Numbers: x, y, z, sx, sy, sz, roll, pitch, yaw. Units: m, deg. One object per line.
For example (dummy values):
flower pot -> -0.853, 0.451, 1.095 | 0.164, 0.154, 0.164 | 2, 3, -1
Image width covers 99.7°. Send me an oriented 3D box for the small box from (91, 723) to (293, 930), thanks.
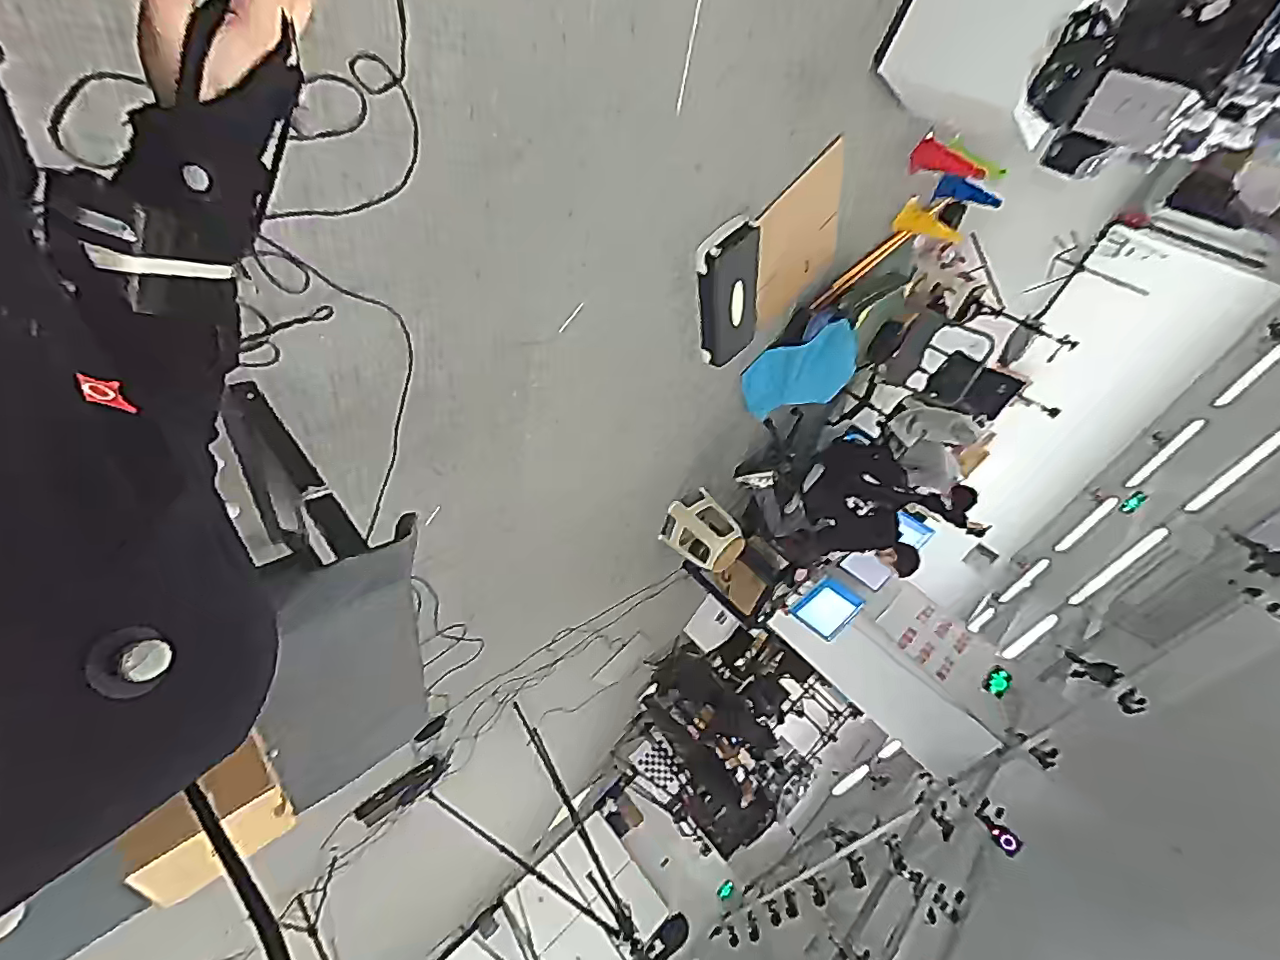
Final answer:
small box -> -0.659, 0.505, 0.808 | 0.179, 0.176, 0.168 | -25, 143, -38
